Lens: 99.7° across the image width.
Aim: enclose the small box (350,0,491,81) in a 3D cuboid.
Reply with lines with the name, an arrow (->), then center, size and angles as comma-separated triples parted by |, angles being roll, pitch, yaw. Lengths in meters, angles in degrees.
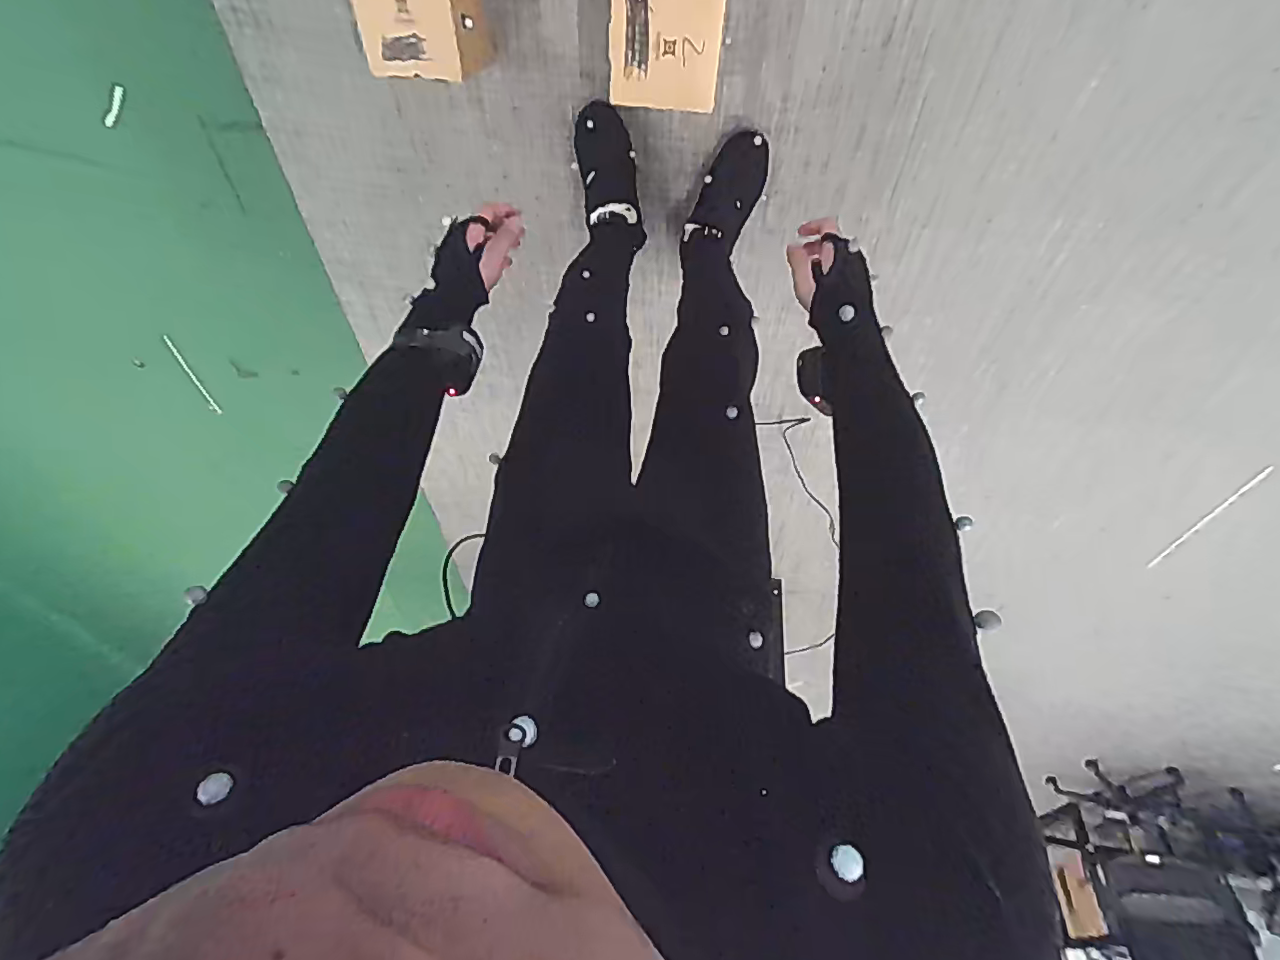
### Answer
small box -> -0.360, -0.791, 0.894 | 0.168, 0.176, 0.179 | 7, 137, 3
